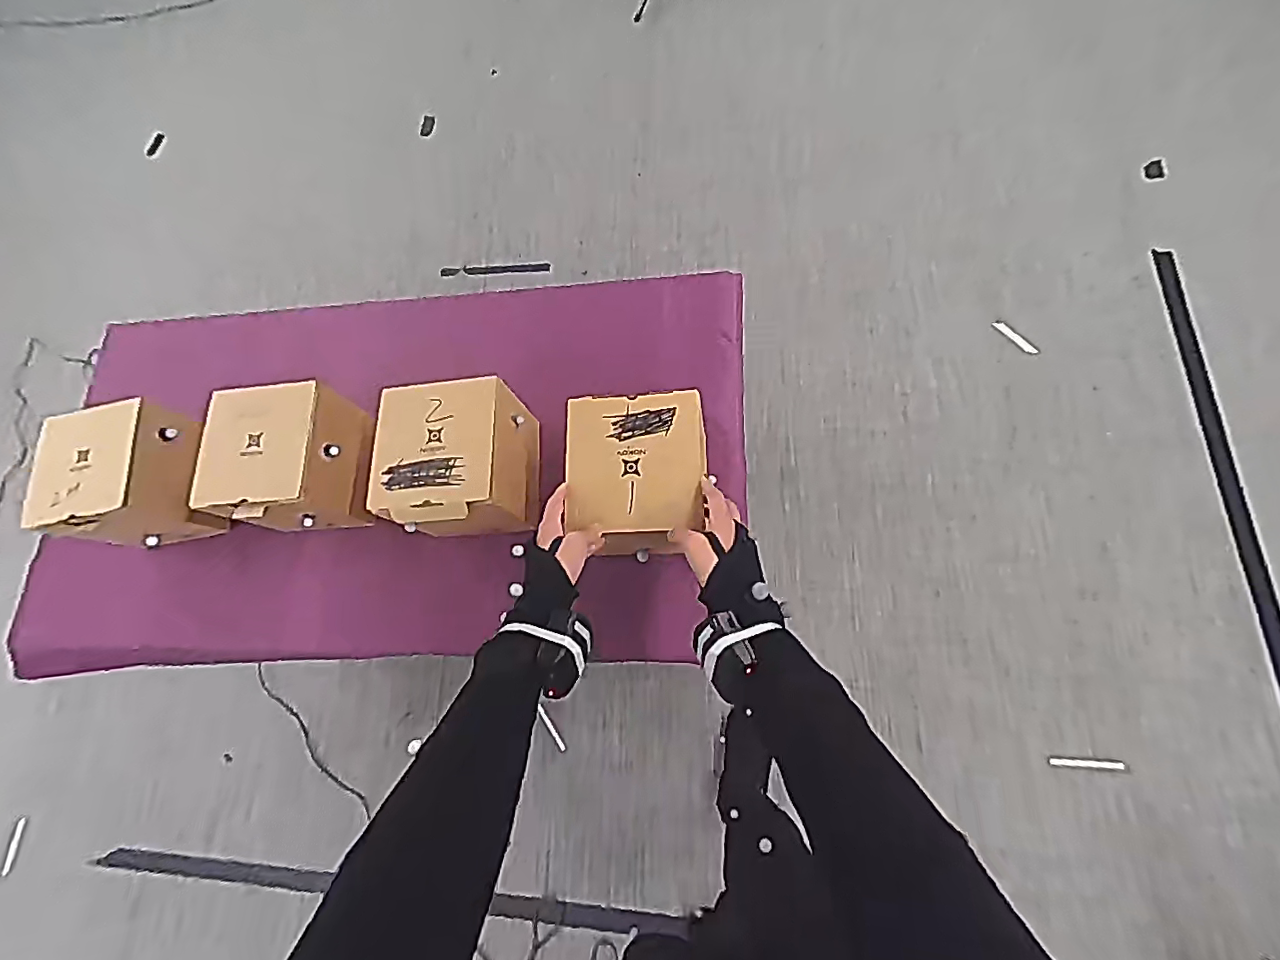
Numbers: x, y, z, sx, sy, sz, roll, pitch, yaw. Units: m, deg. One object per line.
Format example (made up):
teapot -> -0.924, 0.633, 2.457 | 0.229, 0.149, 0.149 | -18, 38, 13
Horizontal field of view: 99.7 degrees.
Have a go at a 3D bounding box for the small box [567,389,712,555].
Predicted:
small box -> 0.008, -0.001, 0.714 | 0.168, 0.176, 0.179 | -3, 74, 9

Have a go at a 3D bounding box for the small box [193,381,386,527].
small box -> -0.508, -0.028, 0.811 | 0.168, 0.176, 0.179 | -3, 73, 8

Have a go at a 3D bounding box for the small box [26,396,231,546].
small box -> -0.775, -0.006, 0.846 | 0.168, 0.176, 0.179 | -10, 72, 7
